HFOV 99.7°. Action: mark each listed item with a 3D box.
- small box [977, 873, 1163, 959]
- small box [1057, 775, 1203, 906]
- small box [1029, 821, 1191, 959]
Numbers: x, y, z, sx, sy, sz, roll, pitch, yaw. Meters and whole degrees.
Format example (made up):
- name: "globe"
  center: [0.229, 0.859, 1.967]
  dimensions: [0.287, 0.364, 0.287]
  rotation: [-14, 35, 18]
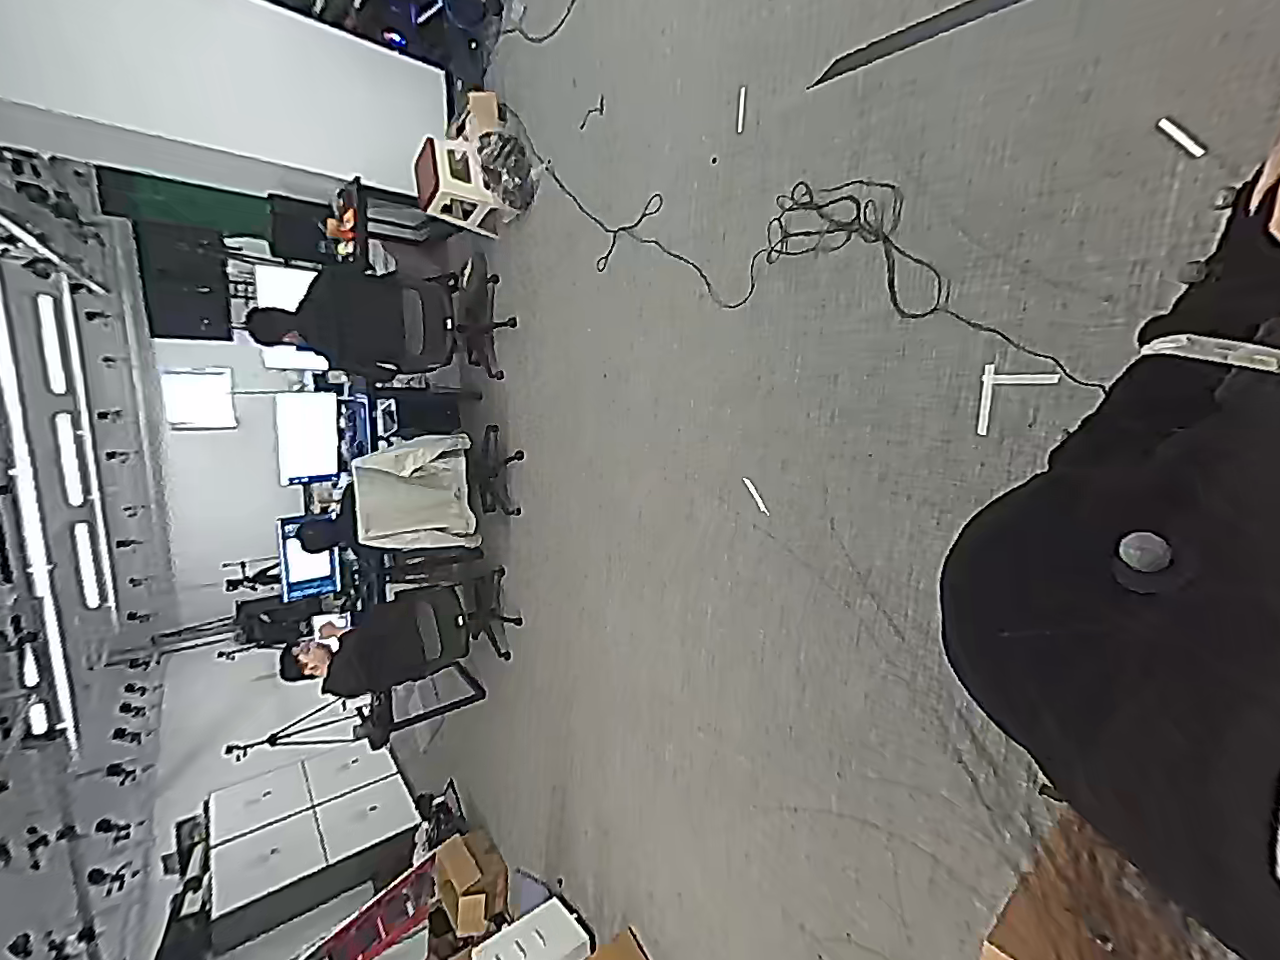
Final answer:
- name: "small box"
  center: [0.546, 0.671, 0.695]
  dimensions: [0.168, 0.176, 0.179]
  rotation: [14, 105, 48]
- name: "small box"
  center: [0.798, 0.638, 0.900]
  dimensions: [0.168, 0.176, 0.179]
  rotation: [18, 108, 48]
- name: "small box"
  center: [0.673, 0.656, 0.795]
  dimensions: [0.168, 0.176, 0.179]
  rotation: [17, 109, 48]
